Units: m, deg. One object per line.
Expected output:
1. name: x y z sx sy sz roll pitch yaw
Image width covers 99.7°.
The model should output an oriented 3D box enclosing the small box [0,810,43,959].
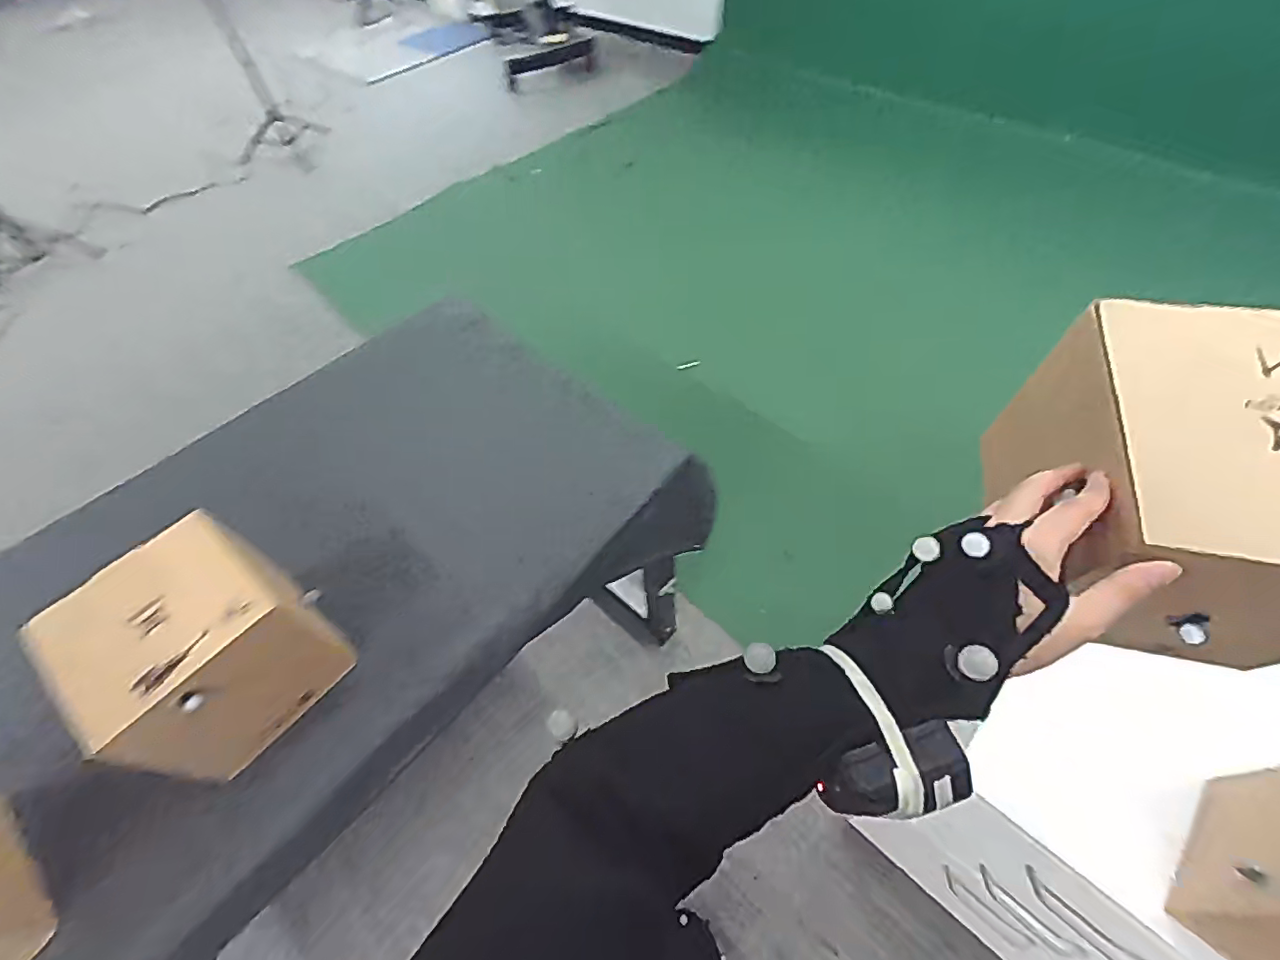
1. small box: -0.654 0.373 0.428 0.179 0.176 0.168 31 61 24

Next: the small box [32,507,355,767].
1. small box: -0.445 0.168 0.565 0.179 0.176 0.168 33 62 25
